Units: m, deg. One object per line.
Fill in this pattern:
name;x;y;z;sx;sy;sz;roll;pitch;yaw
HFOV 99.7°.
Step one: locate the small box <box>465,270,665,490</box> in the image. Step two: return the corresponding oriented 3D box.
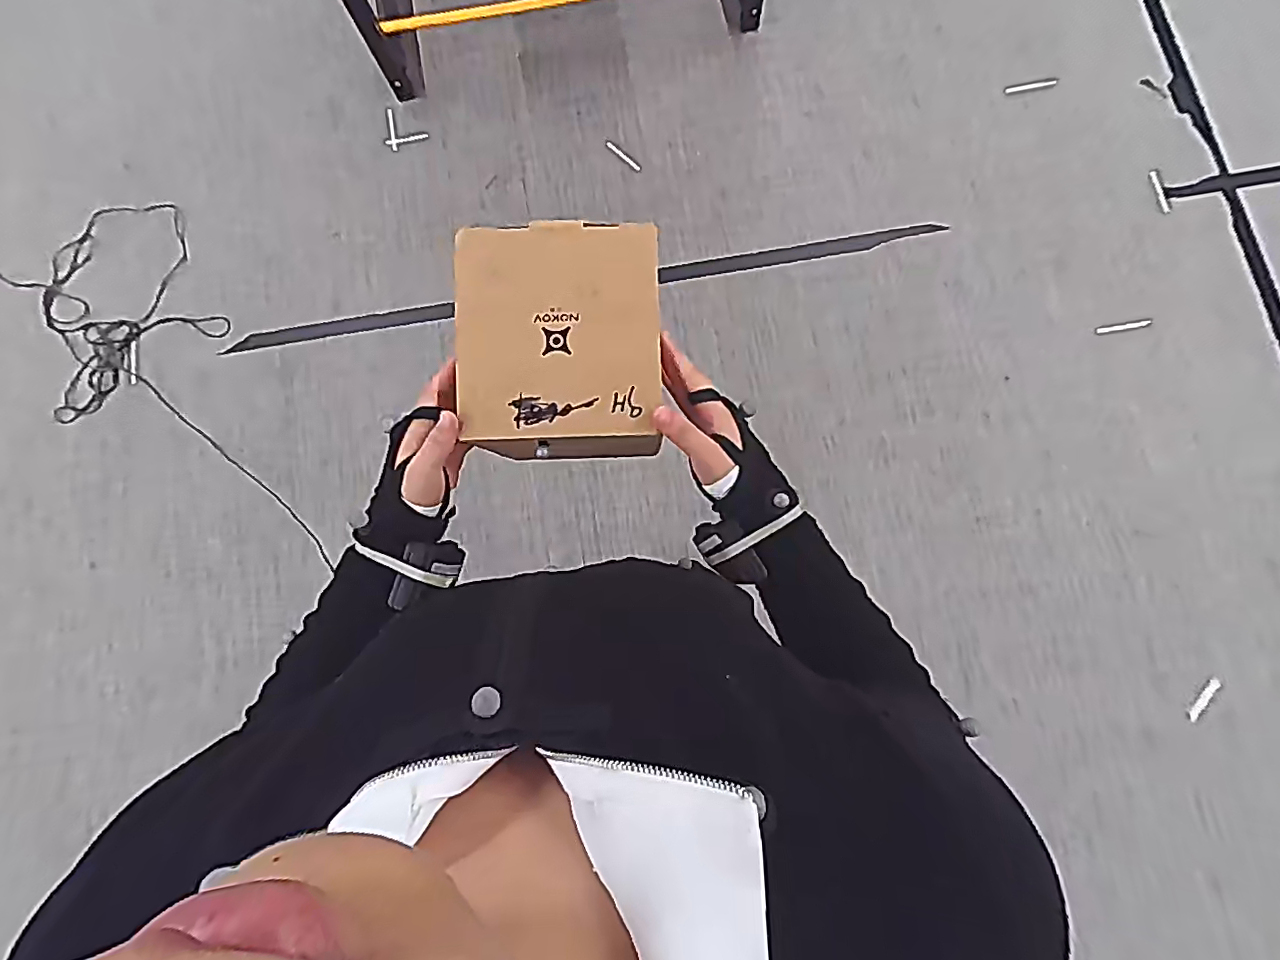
small box;-0.063;-0.082;0.526;0.168;0.176;0.179;-1;86;0
